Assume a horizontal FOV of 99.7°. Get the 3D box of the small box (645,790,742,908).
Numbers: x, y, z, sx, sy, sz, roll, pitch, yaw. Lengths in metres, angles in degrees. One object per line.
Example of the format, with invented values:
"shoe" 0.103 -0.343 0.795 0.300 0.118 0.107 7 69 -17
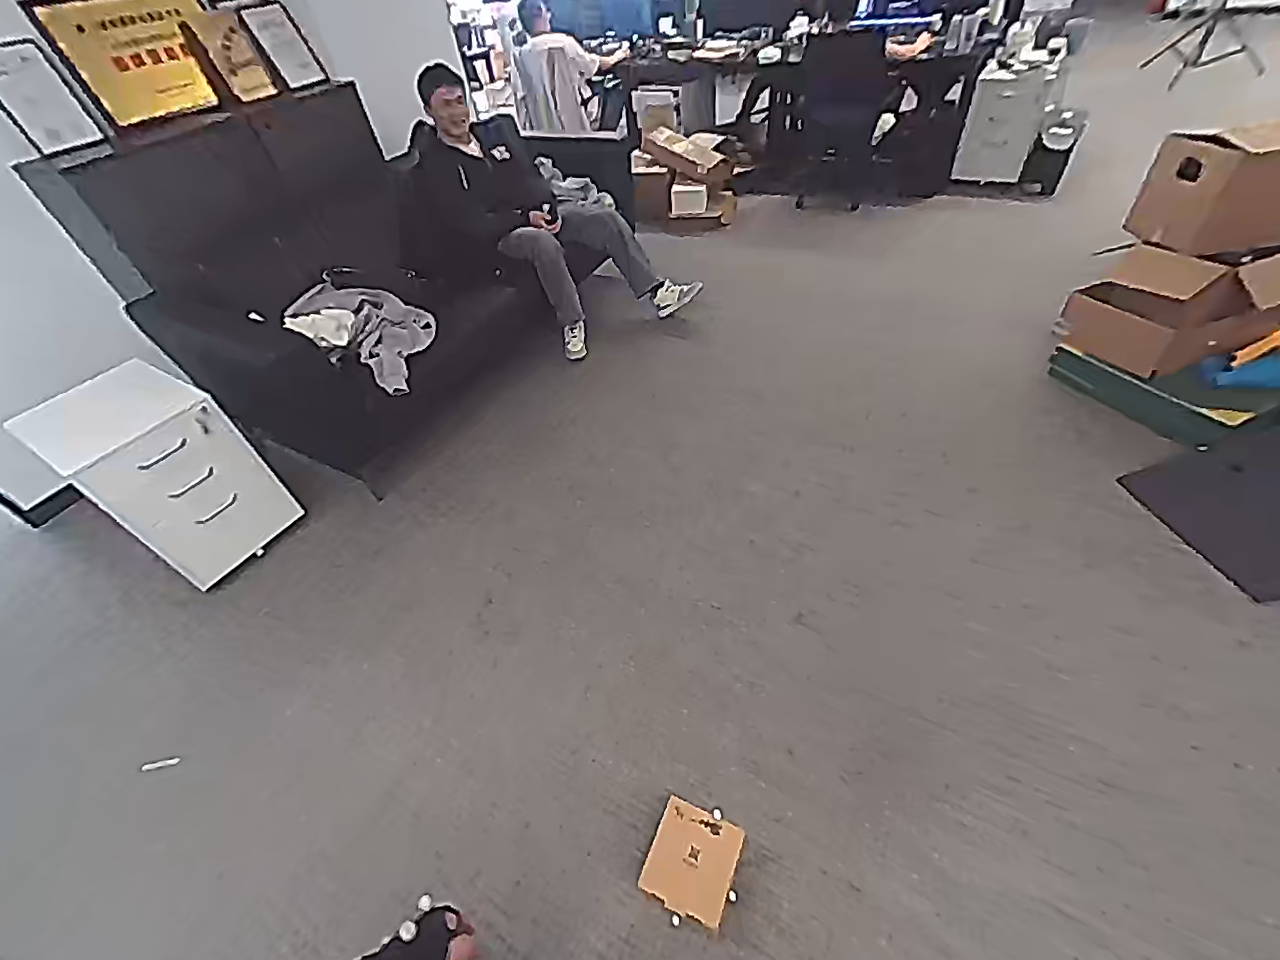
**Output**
"small box" 0.112 0.777 1.136 0.179 0.176 0.168 -8 43 3
